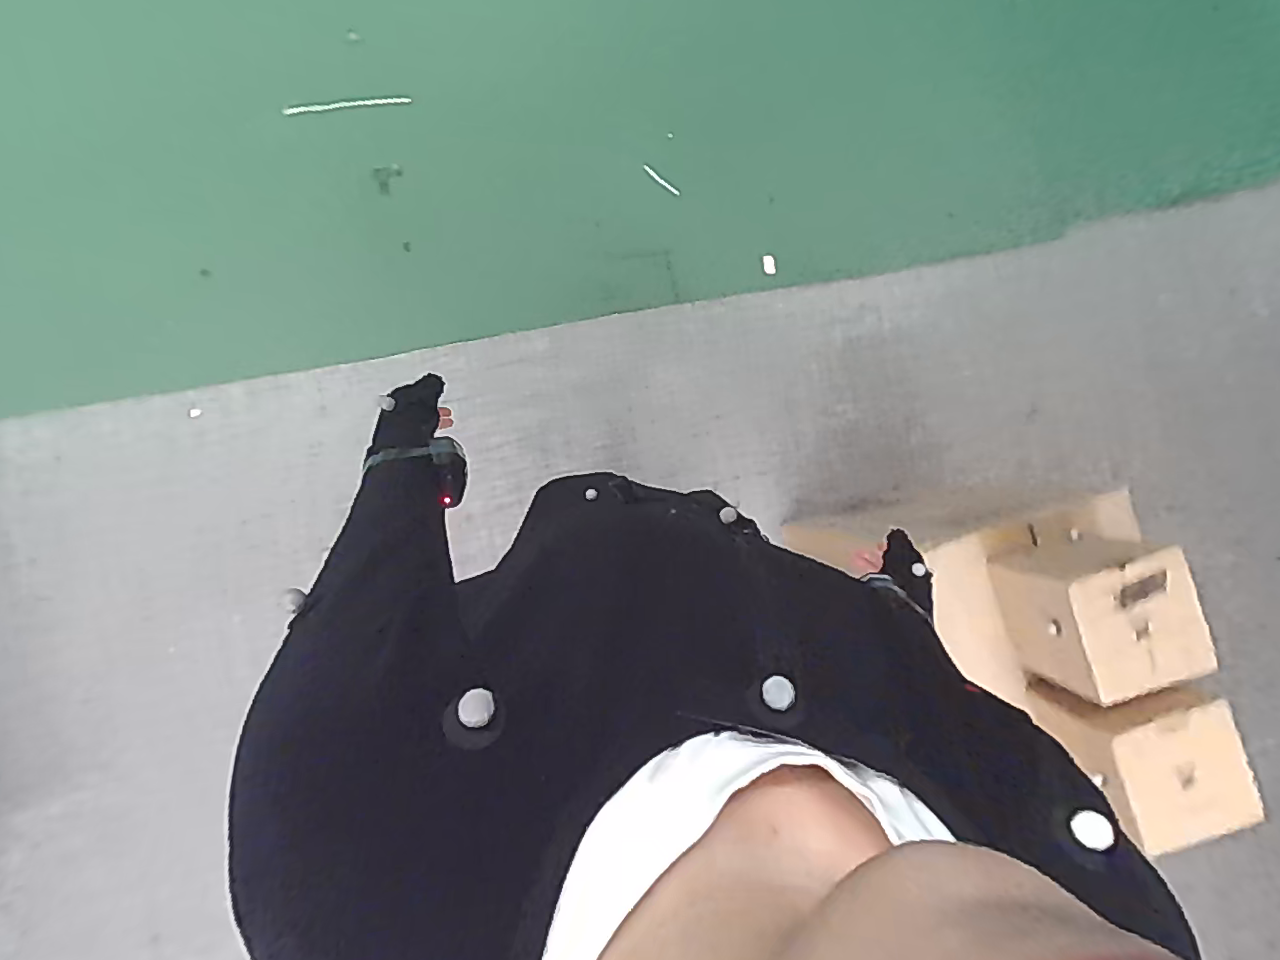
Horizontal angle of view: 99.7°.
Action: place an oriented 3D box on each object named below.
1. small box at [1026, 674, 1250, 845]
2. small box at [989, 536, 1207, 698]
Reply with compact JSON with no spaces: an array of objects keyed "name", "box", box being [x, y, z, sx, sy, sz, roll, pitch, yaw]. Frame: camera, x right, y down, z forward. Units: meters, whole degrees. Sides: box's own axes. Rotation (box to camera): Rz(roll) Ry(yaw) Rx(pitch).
[{"name":"small box","box":[0.735,0.394,0.820,0.168,0.176,0.179,-19,93,1]},{"name":"small box","box":[0.670,0.190,0.814,0.168,0.176,0.179,-18,92,0]}]
